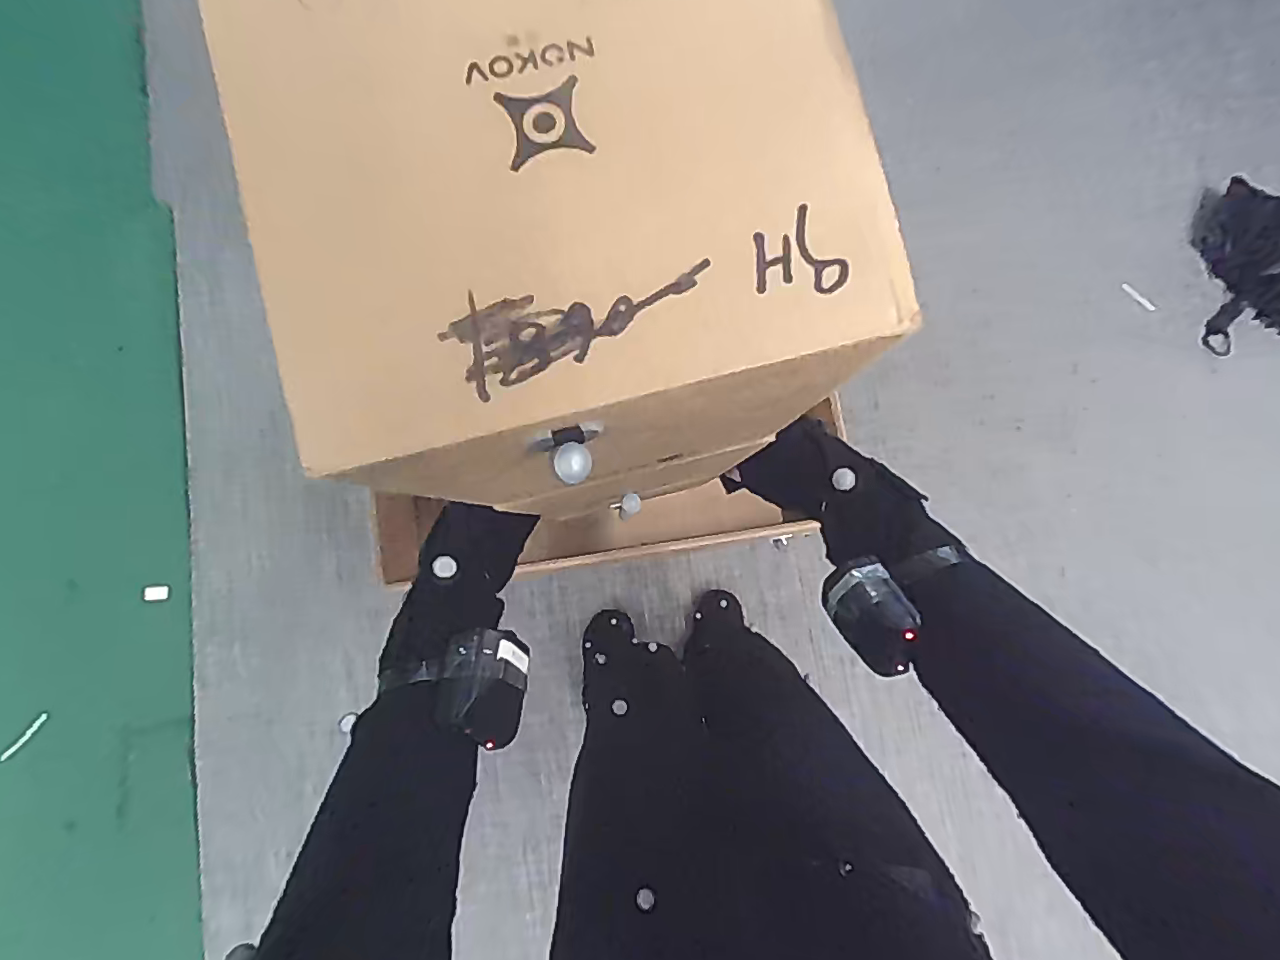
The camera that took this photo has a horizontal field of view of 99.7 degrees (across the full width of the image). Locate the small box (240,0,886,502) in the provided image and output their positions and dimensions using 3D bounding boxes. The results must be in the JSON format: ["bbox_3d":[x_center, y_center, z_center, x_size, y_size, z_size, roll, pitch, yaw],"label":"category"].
[{"bbox_3d":[-0.028,-0.097,0.240,0.168,0.176,0.179,-14,84,0],"label":"small box"}]

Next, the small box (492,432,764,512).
[{"bbox_3d":[-0.026,-0.079,0.403,0.168,0.176,0.179,-14,85,-1],"label":"small box"}]
